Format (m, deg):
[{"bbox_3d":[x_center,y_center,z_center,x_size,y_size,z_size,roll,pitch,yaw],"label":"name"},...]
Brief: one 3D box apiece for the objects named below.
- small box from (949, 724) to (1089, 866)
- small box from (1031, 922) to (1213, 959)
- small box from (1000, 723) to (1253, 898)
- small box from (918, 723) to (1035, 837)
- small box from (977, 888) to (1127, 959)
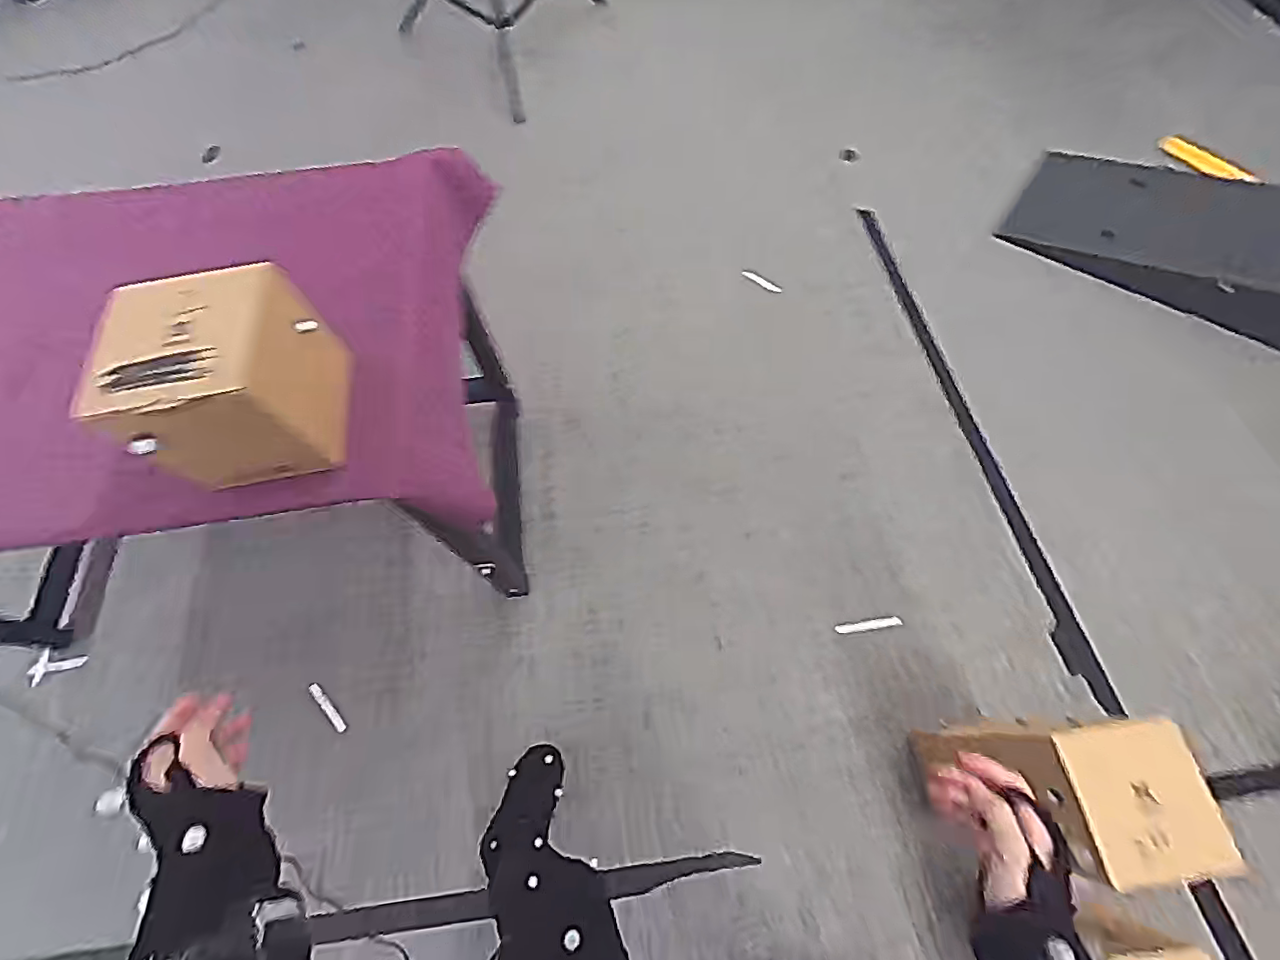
[{"bbox_3d":[0.659,0.515,0.906,0.168,0.176,0.179,-8,66,-1],"label":"small box"},{"bbox_3d":[0.713,0.772,0.782,0.179,0.176,0.168,-5,65,0],"label":"small box"},{"bbox_3d":[0.652,0.446,0.756,0.168,0.176,0.179,-8,67,0],"label":"small box"},{"bbox_3d":[0.674,0.578,1.055,0.179,0.176,0.168,-9,66,-2],"label":"small box"},{"bbox_3d":[0.726,0.837,0.933,0.168,0.176,0.179,-4,66,1],"label":"small box"}]
